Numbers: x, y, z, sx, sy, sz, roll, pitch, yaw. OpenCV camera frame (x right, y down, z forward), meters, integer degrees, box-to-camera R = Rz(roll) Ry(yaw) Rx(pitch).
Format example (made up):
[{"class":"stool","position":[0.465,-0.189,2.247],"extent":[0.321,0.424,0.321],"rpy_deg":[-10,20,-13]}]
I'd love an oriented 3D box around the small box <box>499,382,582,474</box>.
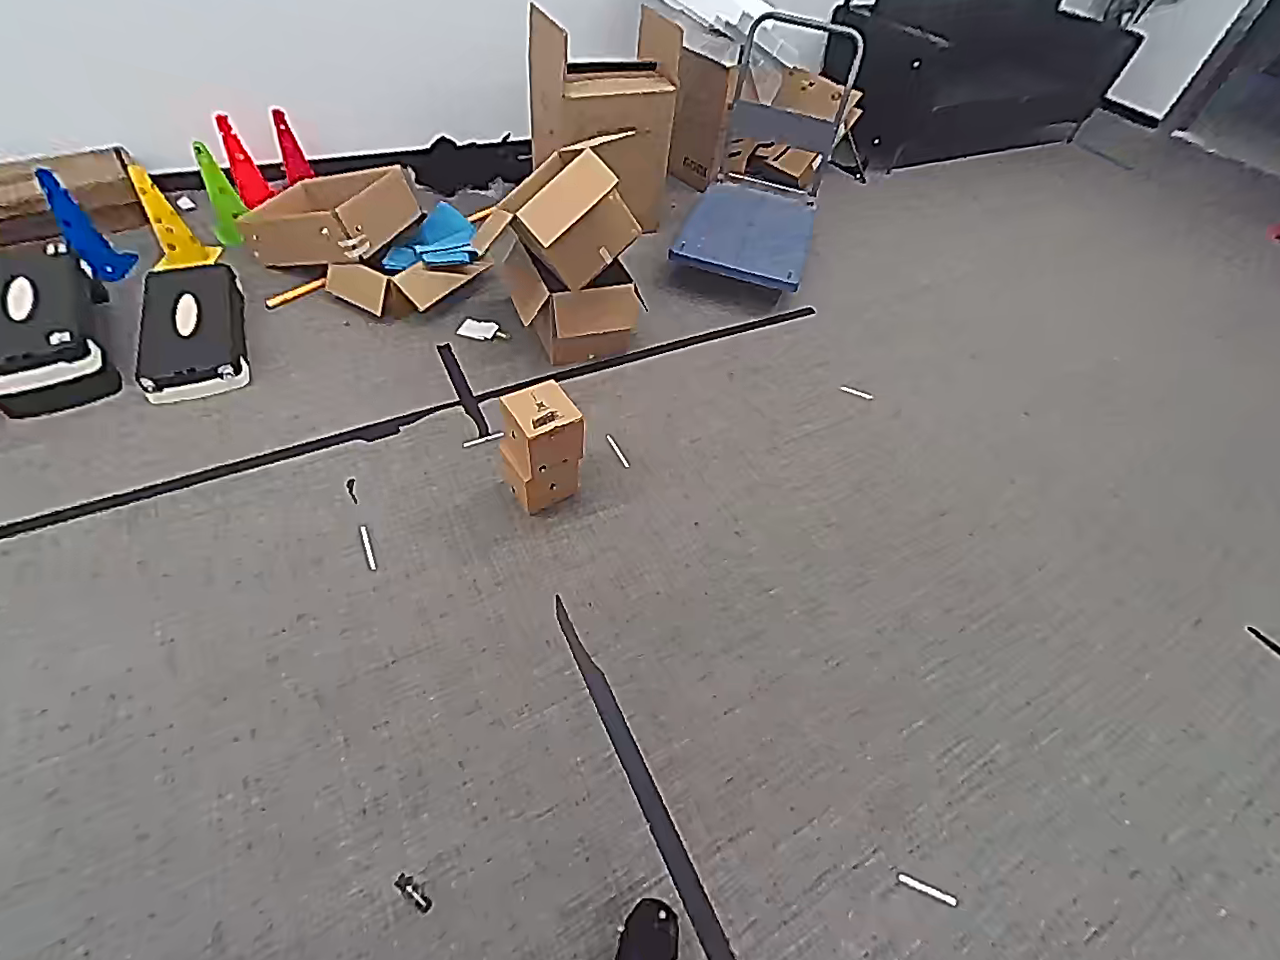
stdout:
[{"class":"small box","position":[-0.274,-0.139,1.508],"extent":[0.168,0.176,0.179],"rpy_deg":[-24,58,-25]}]
